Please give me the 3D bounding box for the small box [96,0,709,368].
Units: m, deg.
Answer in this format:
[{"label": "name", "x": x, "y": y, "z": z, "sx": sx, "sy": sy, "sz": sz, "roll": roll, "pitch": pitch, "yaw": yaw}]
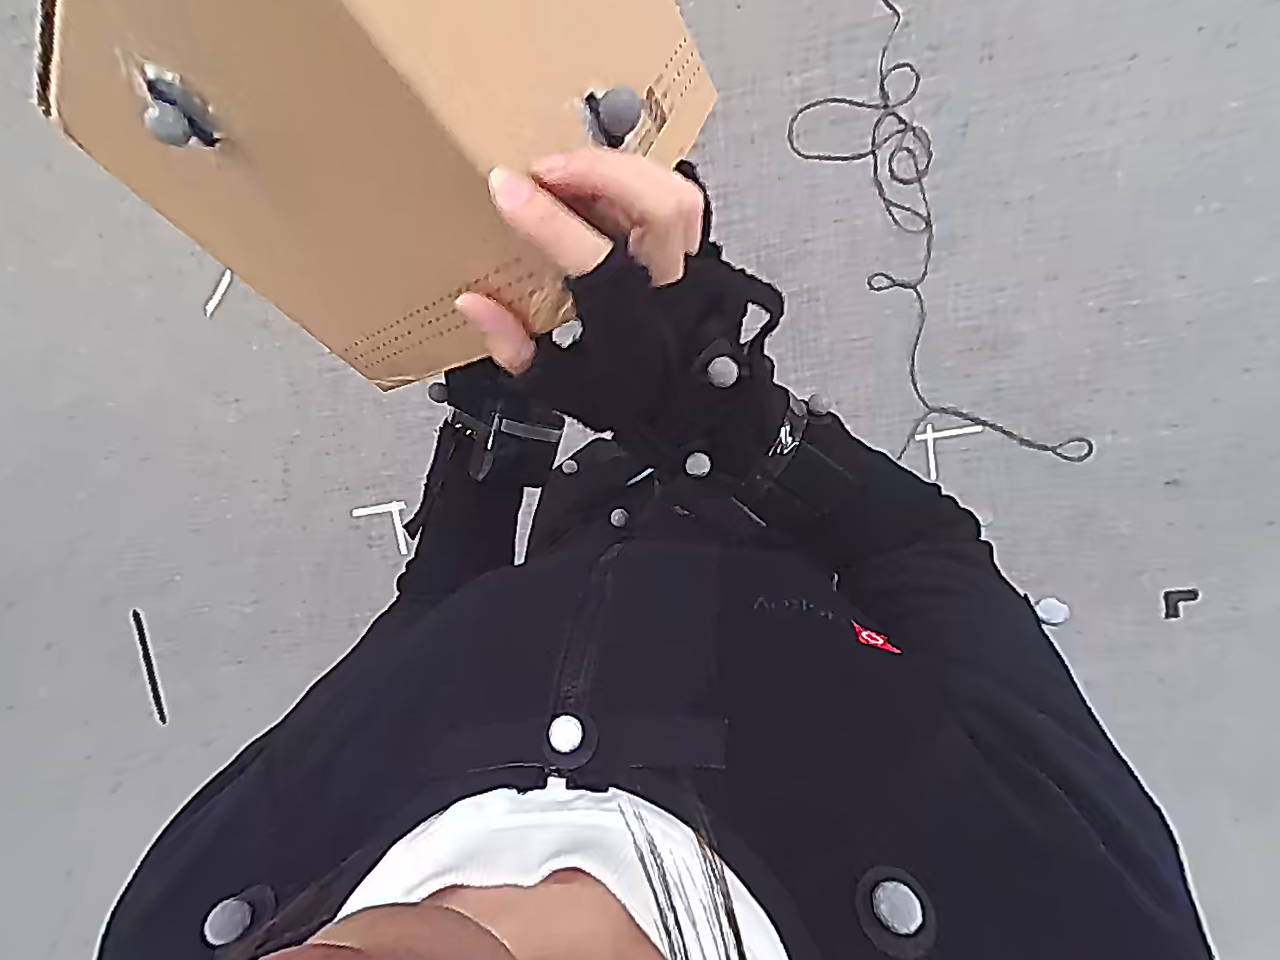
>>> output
[{"label": "small box", "x": -0.098, "y": -0.175, "z": 0.261, "sx": 0.179, "sy": 0.176, "sz": 0.168, "roll": -3, "pitch": 54, "yaw": 42}]
